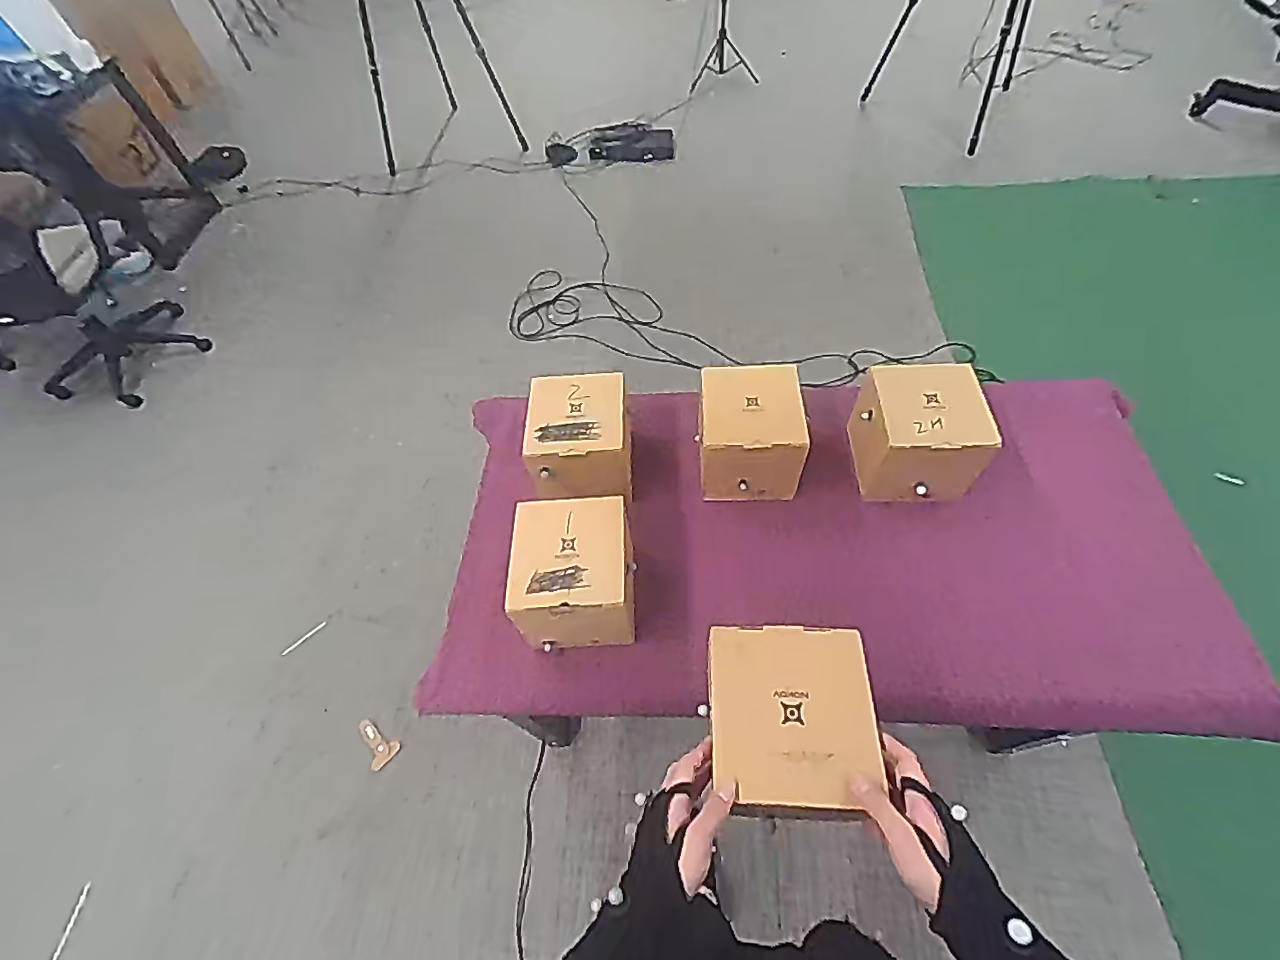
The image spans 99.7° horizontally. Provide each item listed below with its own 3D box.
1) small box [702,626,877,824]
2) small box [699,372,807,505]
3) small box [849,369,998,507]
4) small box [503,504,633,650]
[{"bbox_3d":[0.157,0.286,0.627,0.168,0.176,0.179,-1,55,8],"label":"small box"},{"bbox_3d":[0.191,-0.071,0.967,0.168,0.176,0.179,-2,58,5],"label":"small box"},{"bbox_3d":[0.471,-0.070,0.933,0.168,0.176,0.179,-1,57,7],"label":"small box"},{"bbox_3d":[-0.099,0.158,0.842,0.168,0.176,0.179,-4,54,3],"label":"small box"}]
